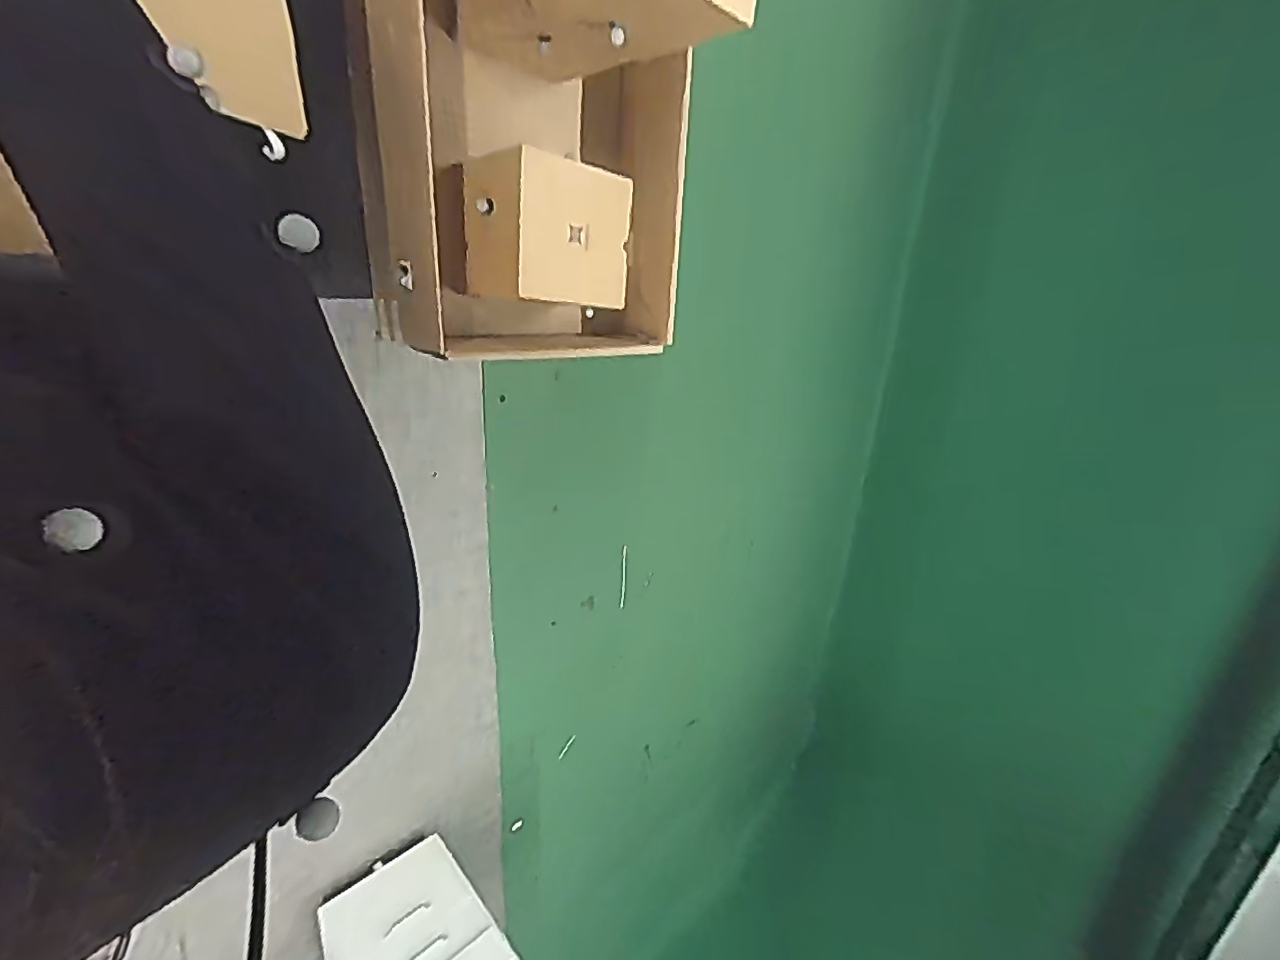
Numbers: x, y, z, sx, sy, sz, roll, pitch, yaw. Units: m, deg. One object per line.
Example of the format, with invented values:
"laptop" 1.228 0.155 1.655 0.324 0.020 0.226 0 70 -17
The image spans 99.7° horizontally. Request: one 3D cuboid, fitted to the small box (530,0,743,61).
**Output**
"small box" -0.003 -0.564 0.543 0.168 0.176 0.179 -16 119 -43
